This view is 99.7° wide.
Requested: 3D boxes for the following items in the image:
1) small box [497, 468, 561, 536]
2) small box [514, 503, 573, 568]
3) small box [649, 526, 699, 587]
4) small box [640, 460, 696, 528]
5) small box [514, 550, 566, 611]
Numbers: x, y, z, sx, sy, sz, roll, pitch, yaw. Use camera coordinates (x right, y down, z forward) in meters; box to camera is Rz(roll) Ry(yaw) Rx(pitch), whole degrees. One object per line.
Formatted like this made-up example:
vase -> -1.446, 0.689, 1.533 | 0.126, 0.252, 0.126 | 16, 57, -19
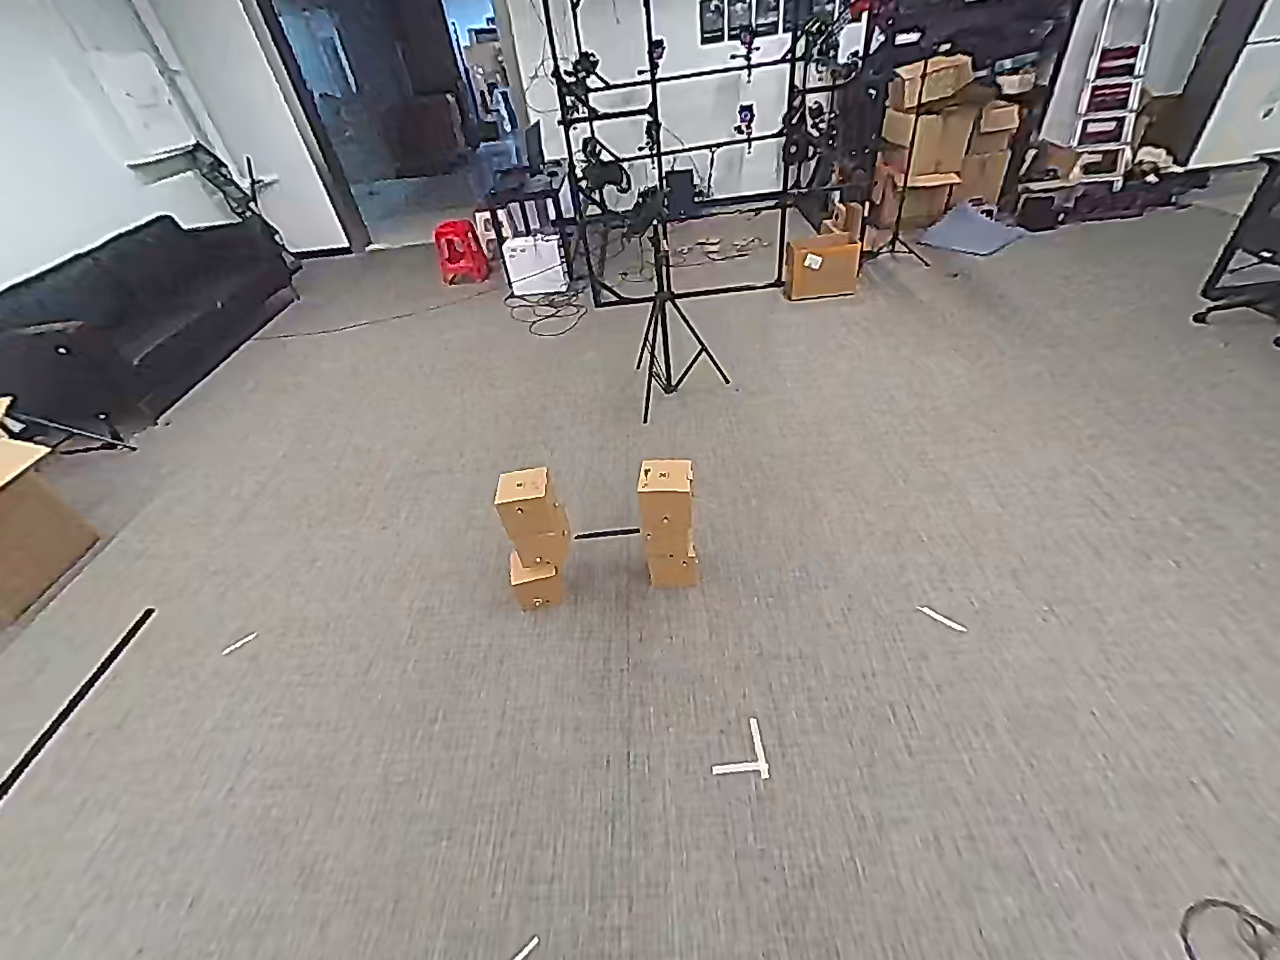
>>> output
small box -> -0.389, 0.083, 1.914 | 0.179, 0.176, 0.168 | -8, 39, 2
small box -> -0.353, 0.207, 2.016 | 0.168, 0.176, 0.179 | -4, 40, 8
small box -> 0.131, 0.296, 2.077 | 0.179, 0.176, 0.168 | -5, 40, 4
small box -> 0.101, 0.050, 1.862 | 0.179, 0.176, 0.168 | 1, 40, 9
small box -> -0.385, 0.374, 2.079 | 0.168, 0.176, 0.179 | -13, 40, -4
